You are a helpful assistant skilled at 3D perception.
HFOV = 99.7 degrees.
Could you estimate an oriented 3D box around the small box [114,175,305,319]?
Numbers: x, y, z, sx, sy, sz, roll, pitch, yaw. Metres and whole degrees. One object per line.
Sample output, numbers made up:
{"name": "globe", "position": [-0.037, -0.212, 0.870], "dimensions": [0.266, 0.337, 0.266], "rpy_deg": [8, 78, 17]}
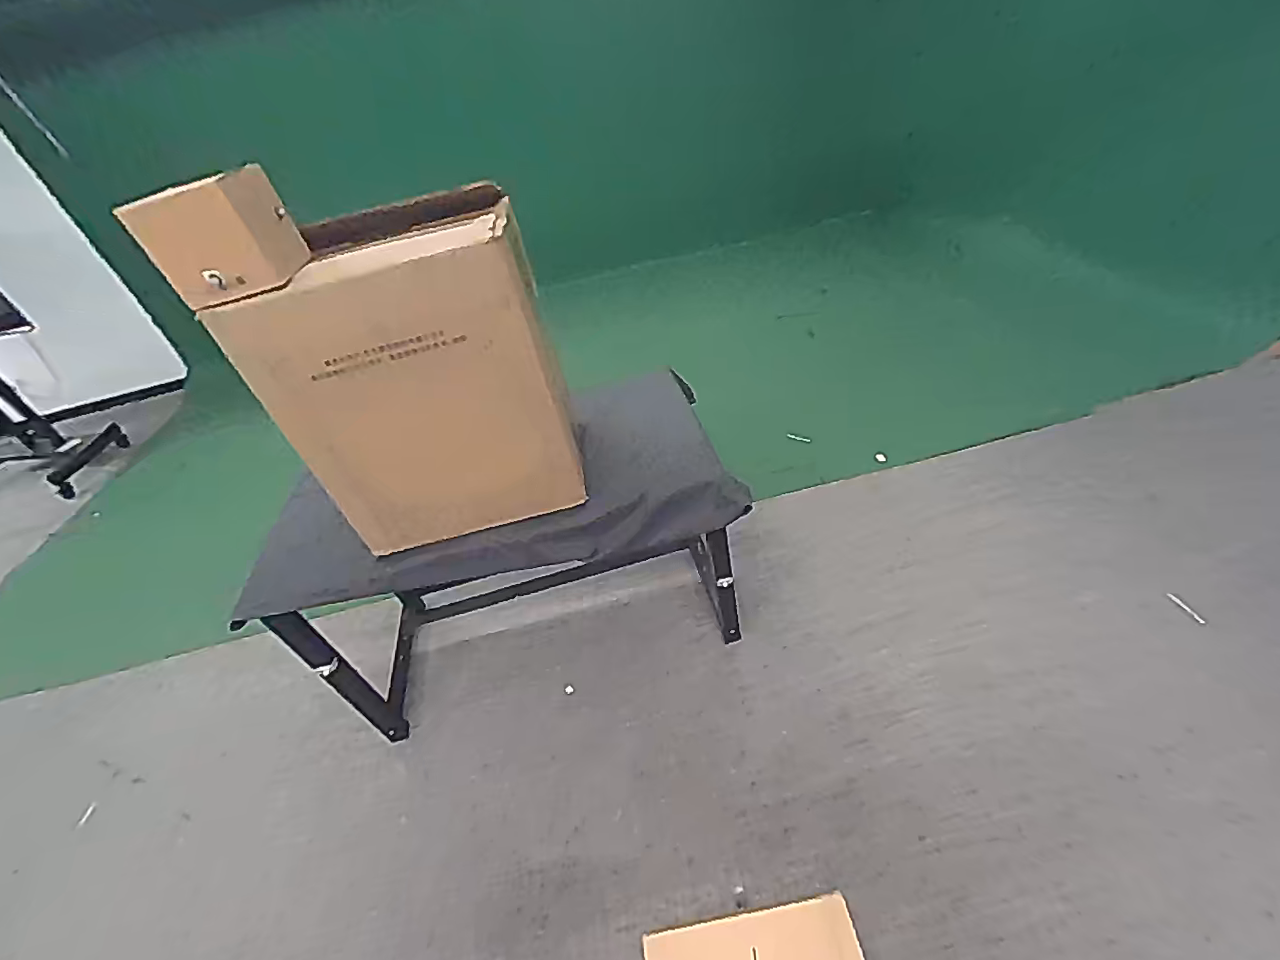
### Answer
{"name": "small box", "position": [-0.722, -0.403, 0.937], "dimensions": [0.168, 0.176, 0.179], "rpy_deg": [-18, 39, -1]}

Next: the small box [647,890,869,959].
{"name": "small box", "position": [0.107, 0.456, 0.437], "dimensions": [0.168, 0.176, 0.179], "rpy_deg": [-12, 51, -3]}
